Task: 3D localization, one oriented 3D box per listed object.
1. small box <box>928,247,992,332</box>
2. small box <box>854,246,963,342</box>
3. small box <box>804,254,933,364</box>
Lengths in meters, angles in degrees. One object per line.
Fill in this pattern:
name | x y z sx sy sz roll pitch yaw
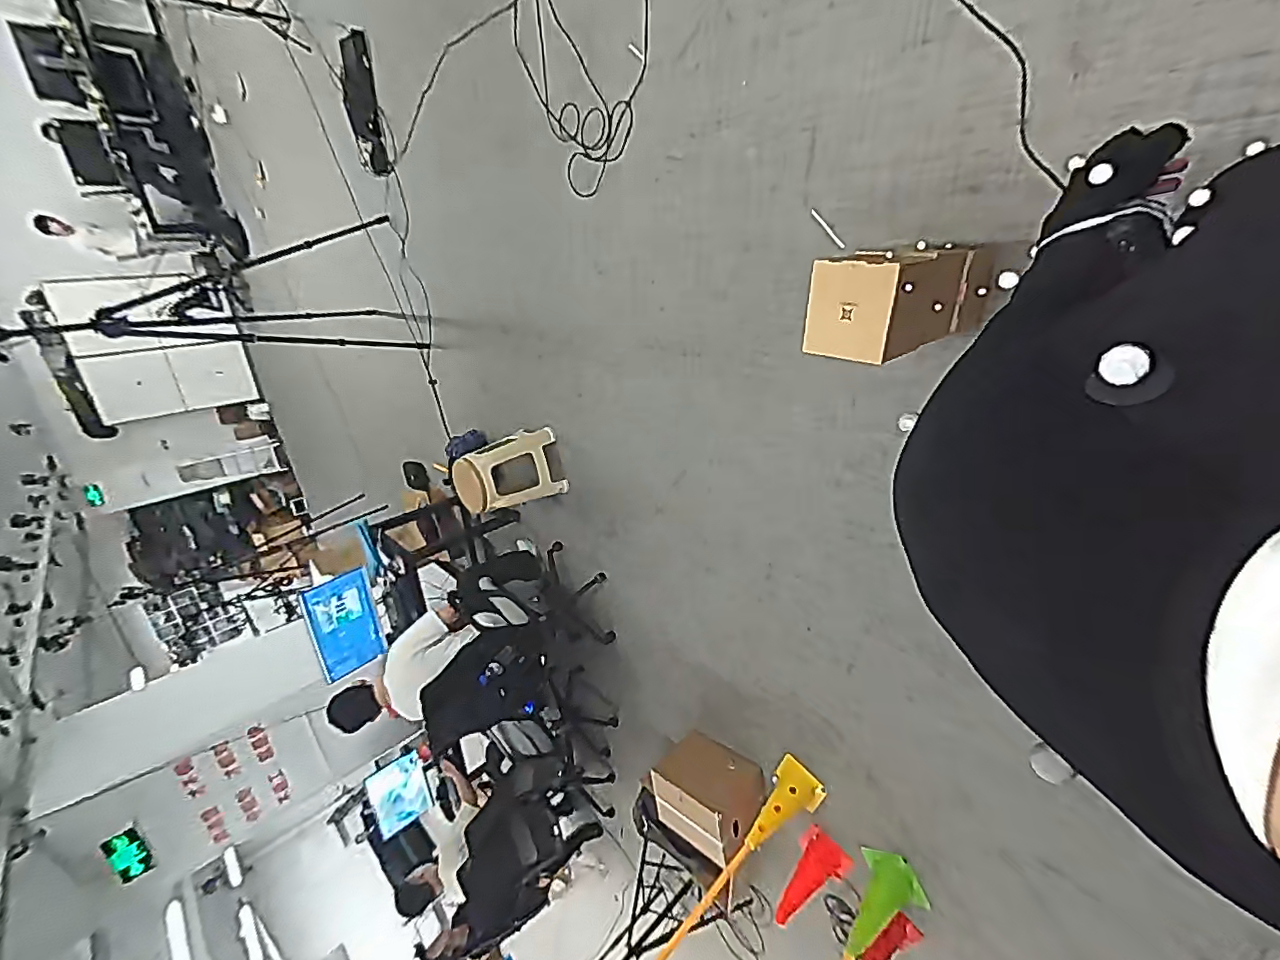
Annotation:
small box | 0.682 -0.447 1.251 0.179 0.176 0.168 23 124 40
small box | 0.560 -0.398 1.152 0.168 0.176 0.179 24 124 40
small box | 0.444 -0.340 1.054 0.168 0.176 0.179 24 124 40
